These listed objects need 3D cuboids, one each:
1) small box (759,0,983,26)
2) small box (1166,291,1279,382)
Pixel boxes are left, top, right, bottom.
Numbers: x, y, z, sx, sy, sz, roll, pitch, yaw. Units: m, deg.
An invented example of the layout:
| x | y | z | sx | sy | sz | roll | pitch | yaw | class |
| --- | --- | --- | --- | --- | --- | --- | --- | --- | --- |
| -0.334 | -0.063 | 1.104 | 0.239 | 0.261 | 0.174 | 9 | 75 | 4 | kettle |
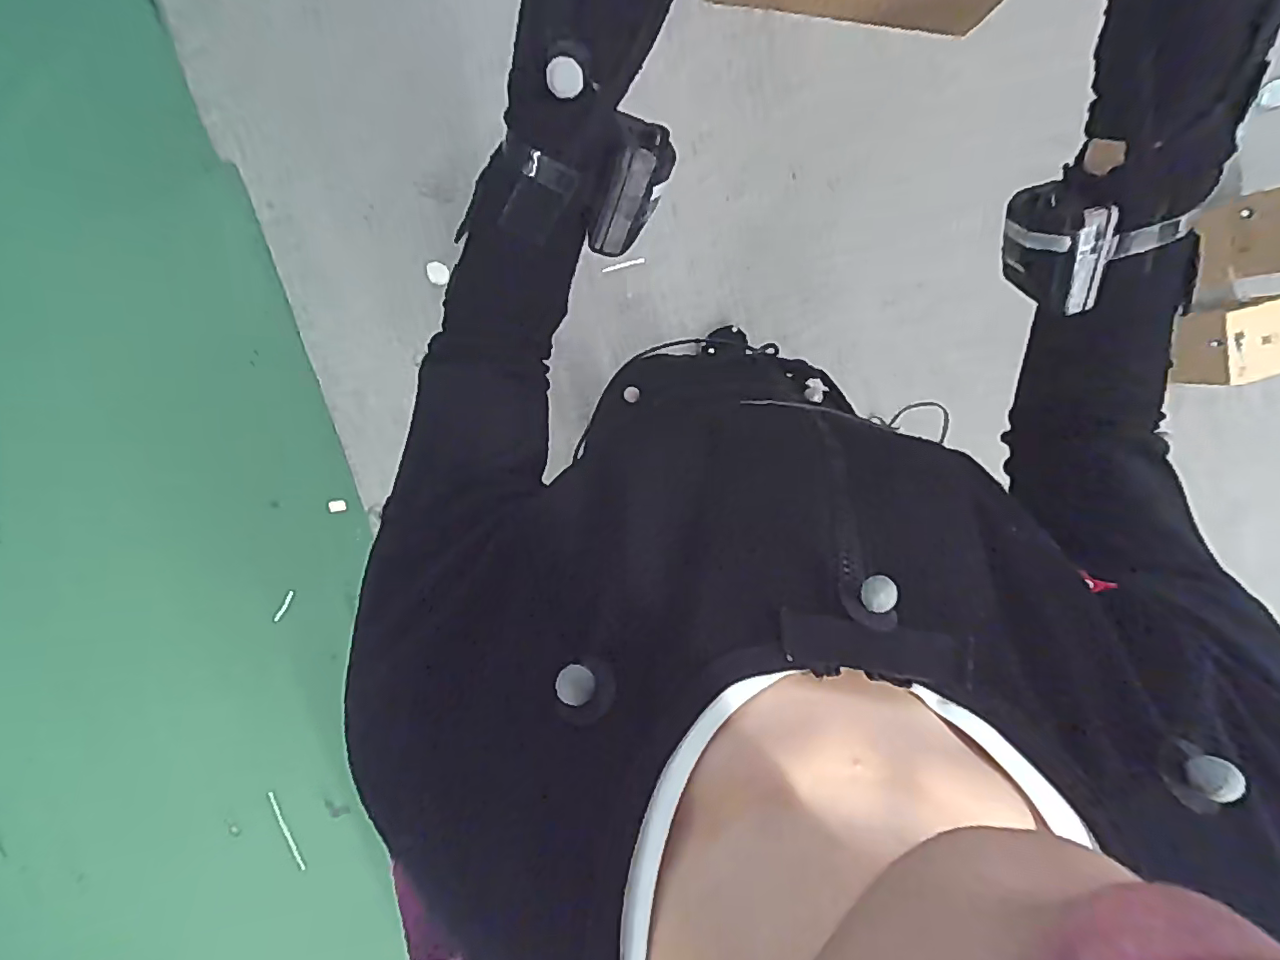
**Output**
| x | y | z | sx | sy | sz | roll | pitch | yaw | class |
| --- | --- | --- | --- | --- | --- | --- | --- | --- | --- |
| 0.133 | -0.344 | 0.240 | 0.179 | 0.176 | 0.168 | 6 | 108 | -2 | small box |
| 1.381 | -0.332 | 1.245 | 0.179 | 0.176 | 0.168 | -15 | 101 | 6 | small box |
